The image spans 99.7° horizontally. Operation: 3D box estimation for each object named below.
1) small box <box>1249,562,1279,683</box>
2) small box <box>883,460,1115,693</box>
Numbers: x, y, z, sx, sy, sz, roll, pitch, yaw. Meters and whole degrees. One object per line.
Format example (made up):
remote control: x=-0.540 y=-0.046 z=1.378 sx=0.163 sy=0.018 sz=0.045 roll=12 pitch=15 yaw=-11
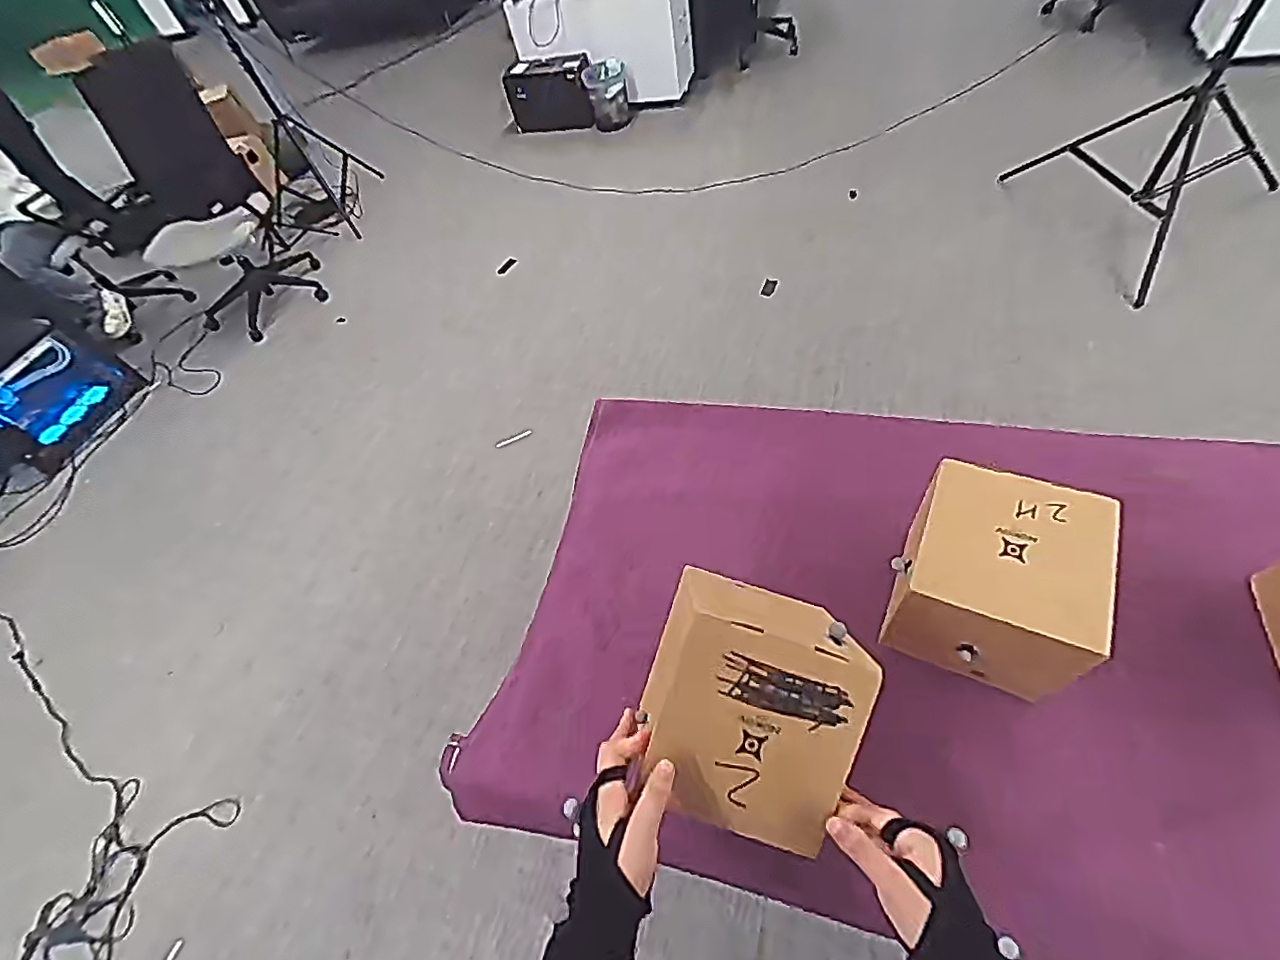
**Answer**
small box: x=0.748 y=0.152 z=0.503 sx=0.168 sy=0.176 sz=0.179 roll=7 pitch=56 yaw=18
small box: x=0.388 y=0.112 z=0.608 sx=0.168 sy=0.176 sz=0.179 roll=19 pitch=61 yaw=23
